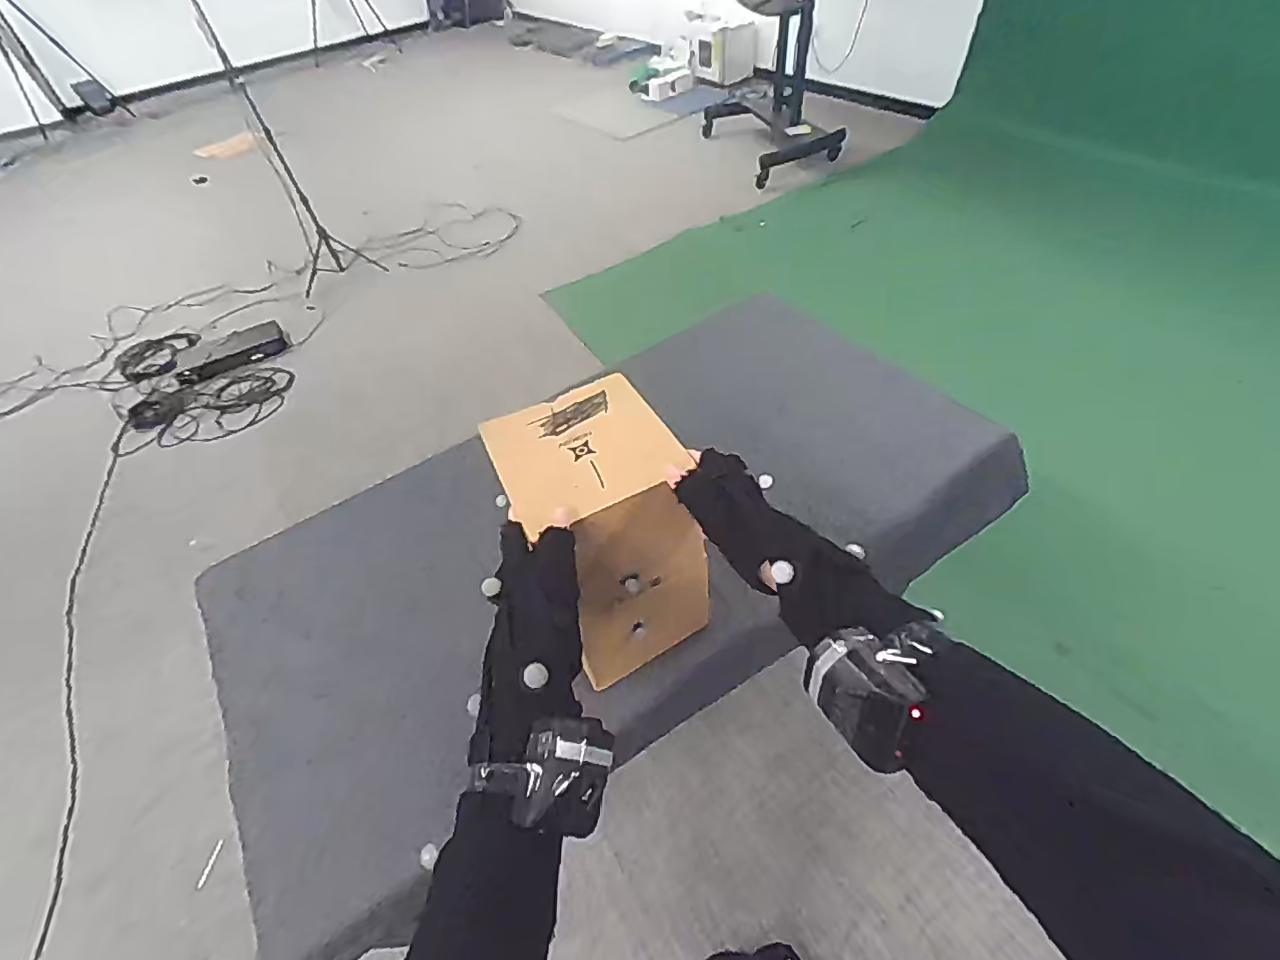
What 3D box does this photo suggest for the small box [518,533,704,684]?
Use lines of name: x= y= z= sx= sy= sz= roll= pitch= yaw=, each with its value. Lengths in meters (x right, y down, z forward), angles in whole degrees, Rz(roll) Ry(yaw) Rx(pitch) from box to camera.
small box: x=-0.030 y=0.131 z=0.704 sx=0.179 sy=0.176 sz=0.168 roll=-28 pitch=51 yaw=-15

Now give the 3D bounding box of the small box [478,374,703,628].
small box: x=-0.049 y=0.020 z=0.577 sx=0.168 sy=0.176 sz=0.179 roll=-26 pitch=46 yaw=-13
